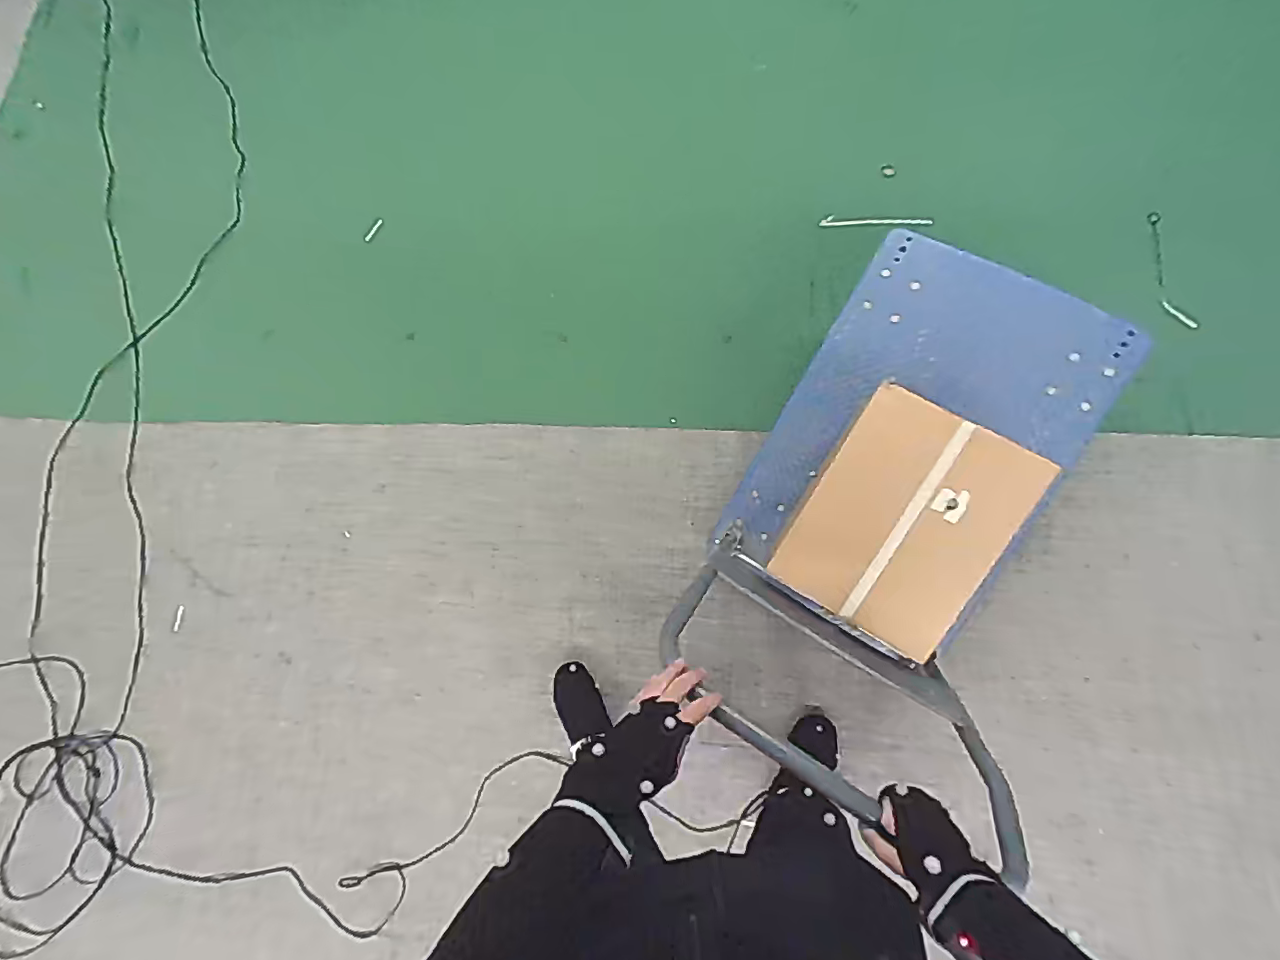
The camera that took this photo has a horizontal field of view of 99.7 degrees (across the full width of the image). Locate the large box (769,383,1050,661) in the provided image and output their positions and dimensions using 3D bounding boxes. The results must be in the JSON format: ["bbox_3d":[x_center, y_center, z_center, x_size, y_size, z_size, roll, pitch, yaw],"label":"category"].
[{"bbox_3d":[0.498,0.075,1.092,0.320,0.320,0.408,31,98,13],"label":"large box"}]
